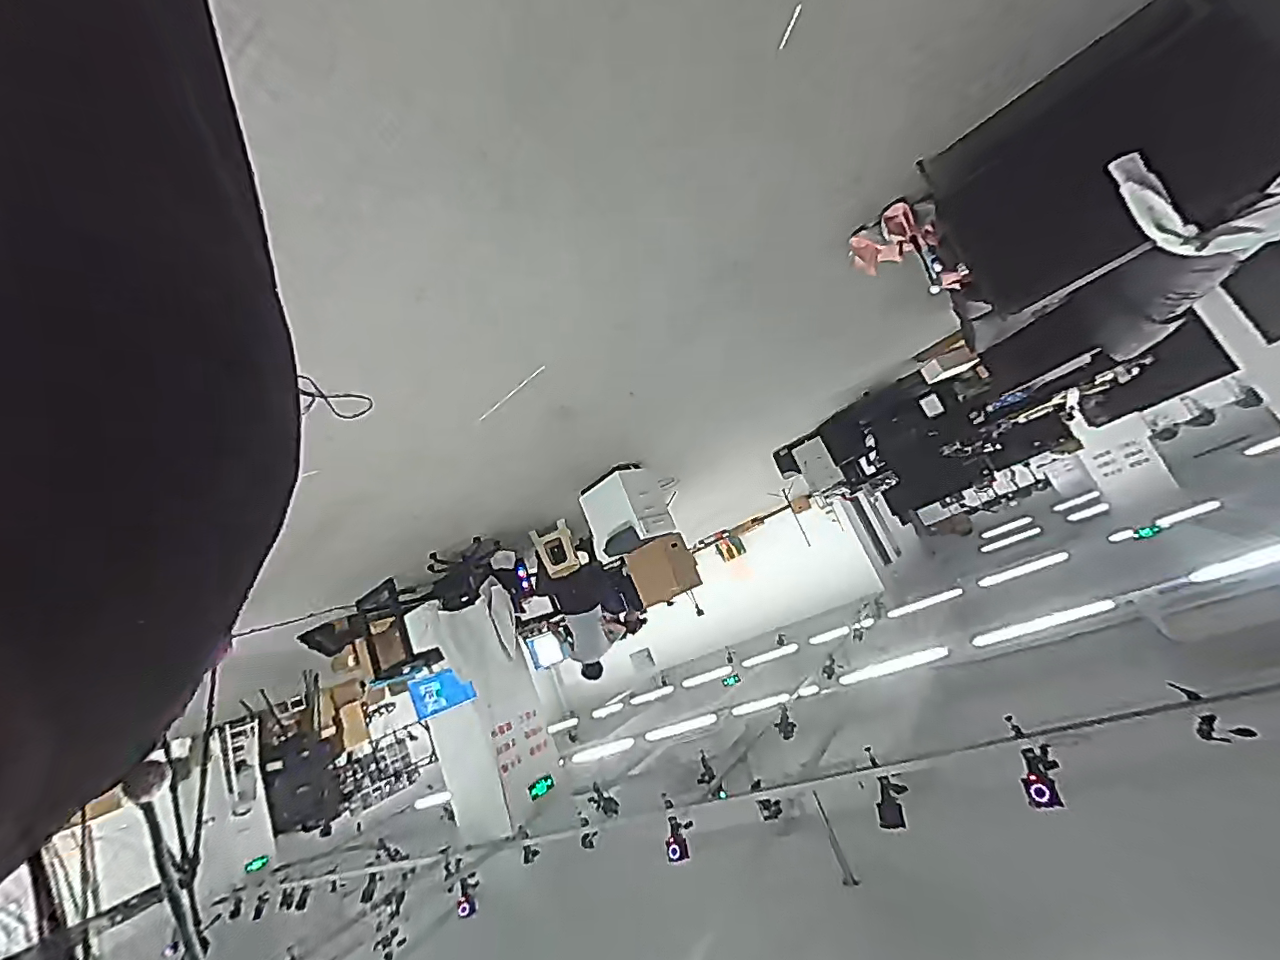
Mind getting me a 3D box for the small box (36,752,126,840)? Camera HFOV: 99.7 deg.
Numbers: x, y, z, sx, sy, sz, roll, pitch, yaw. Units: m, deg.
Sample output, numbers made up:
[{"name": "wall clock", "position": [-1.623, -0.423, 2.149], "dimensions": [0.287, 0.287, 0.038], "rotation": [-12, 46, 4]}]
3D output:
[{"name": "small box", "position": [-1.723, 0.967, 1.663], "dimensions": [0.168, 0.176, 0.179], "rotation": [-33, 163, 35]}]
